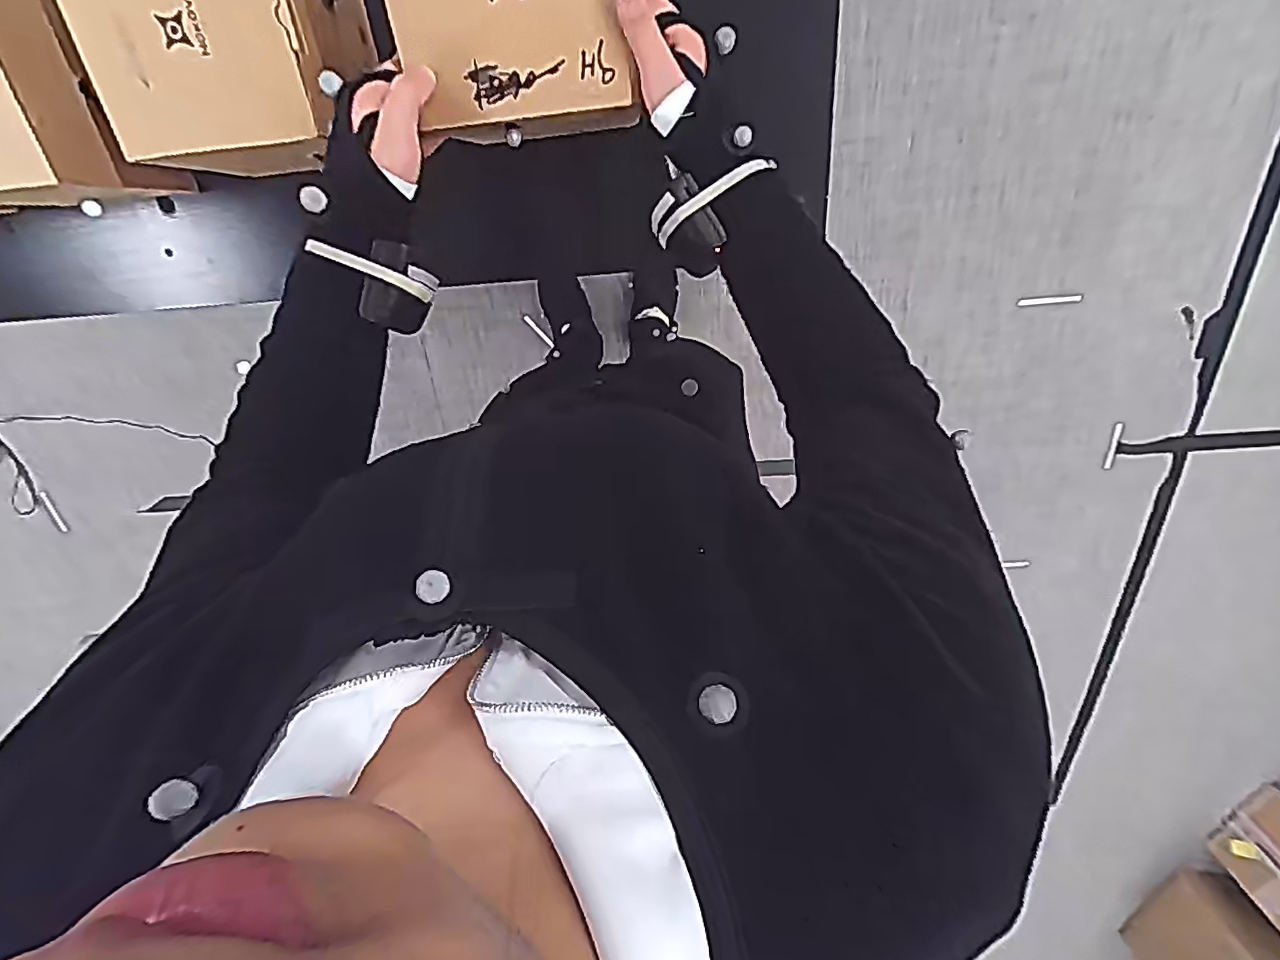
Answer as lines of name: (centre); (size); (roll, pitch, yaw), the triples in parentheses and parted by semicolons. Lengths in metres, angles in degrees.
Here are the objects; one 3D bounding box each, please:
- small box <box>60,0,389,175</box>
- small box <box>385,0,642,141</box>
small box: (-0.357, -0.387, 0.495); (0.179, 0.176, 0.168); (-5, 115, 4)
small box: (-0.090, -0.376, 0.414); (0.168, 0.176, 0.179); (-6, 119, 2)
